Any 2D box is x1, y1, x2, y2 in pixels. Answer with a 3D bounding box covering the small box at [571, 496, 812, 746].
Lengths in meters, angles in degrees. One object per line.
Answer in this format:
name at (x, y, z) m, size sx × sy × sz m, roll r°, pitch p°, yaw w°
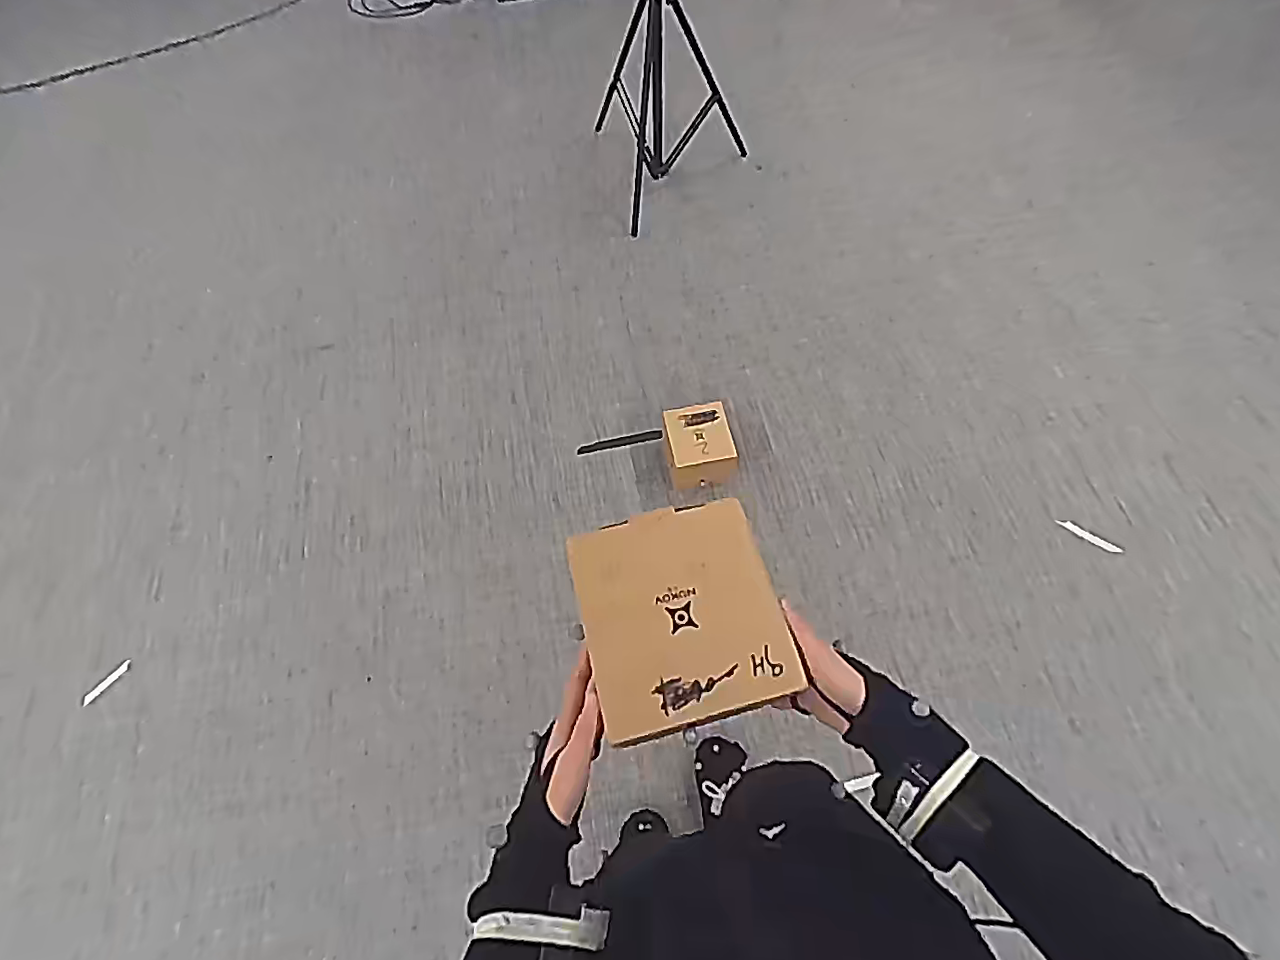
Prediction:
small box at (0.035, 0.142, 0.523) m, size 0.168 × 0.176 × 0.179 m, roll -13°, pitch 64°, yaw -7°
